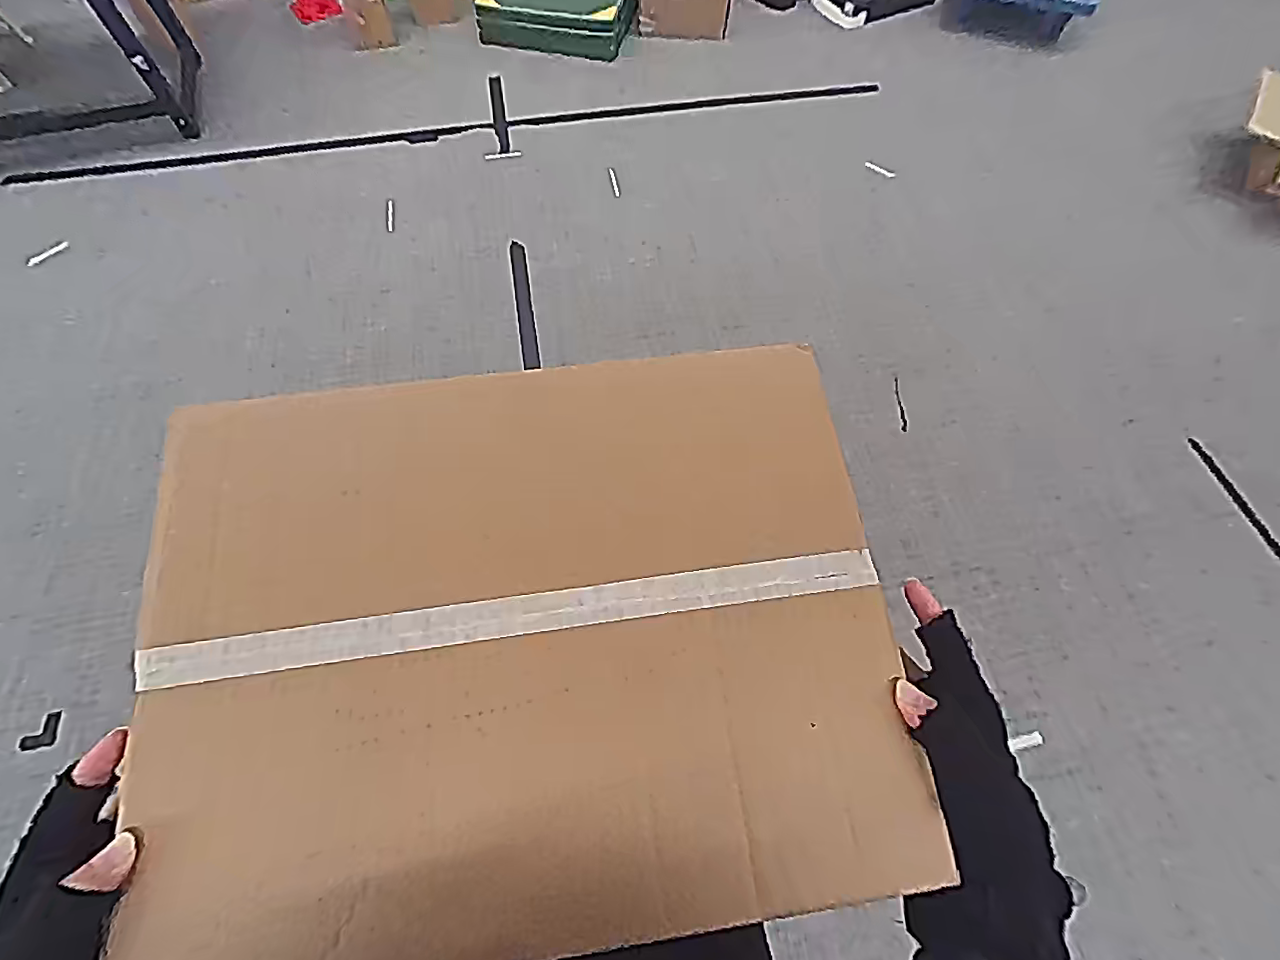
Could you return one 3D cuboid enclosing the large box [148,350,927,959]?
[{"bbox_3d":[-0.068,0.125,0.461,0.408,0.320,0.320,-7,72,-5],"label":"large box"}]
